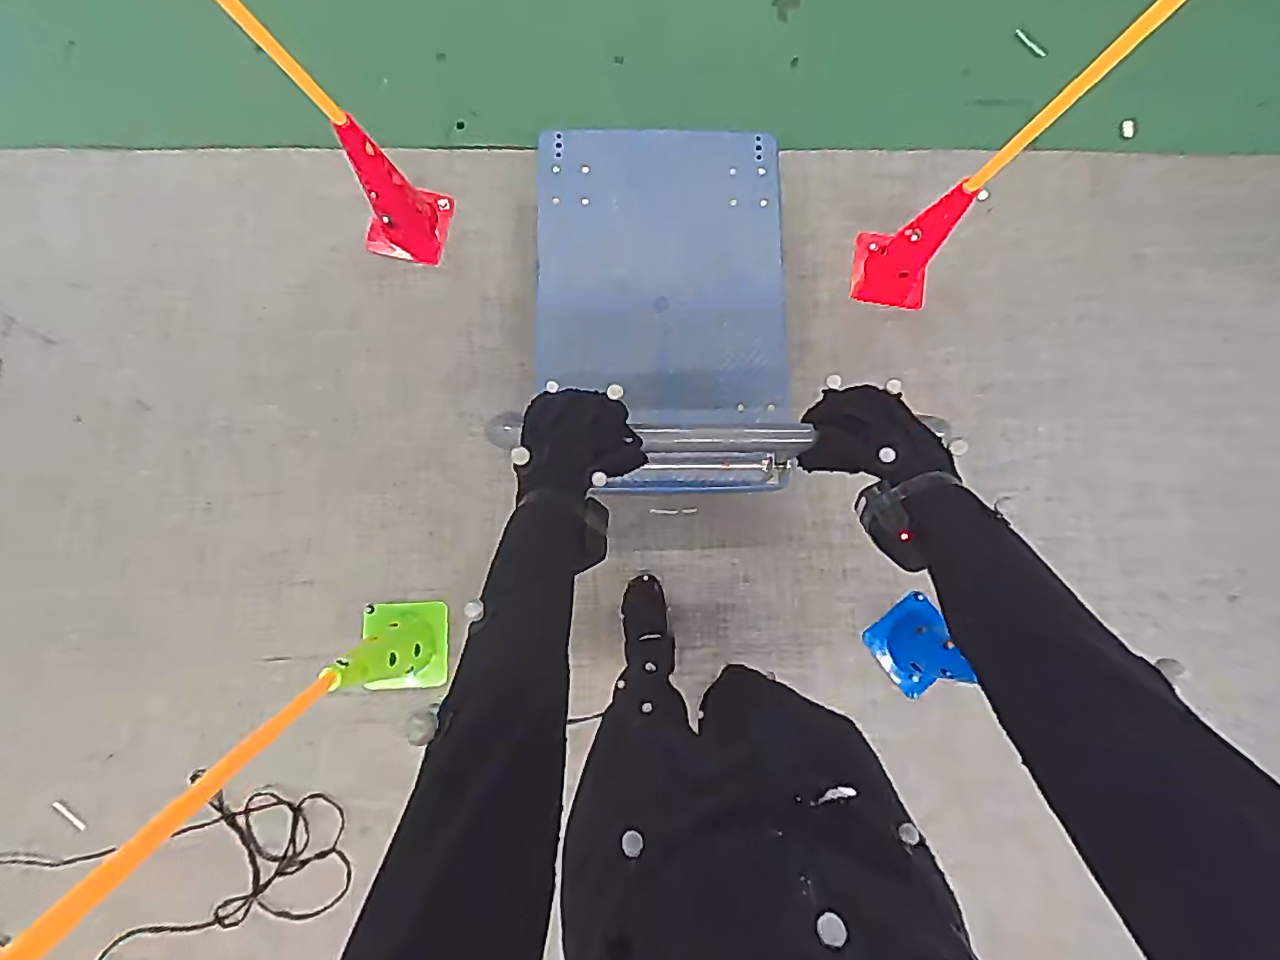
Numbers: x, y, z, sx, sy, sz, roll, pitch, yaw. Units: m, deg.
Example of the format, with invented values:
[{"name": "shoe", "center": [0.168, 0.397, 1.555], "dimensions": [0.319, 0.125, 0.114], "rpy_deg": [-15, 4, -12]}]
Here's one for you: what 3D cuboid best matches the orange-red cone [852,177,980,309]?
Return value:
[{"name": "orange-red cone", "center": [0.685, -0.588, 1.294], "dimensions": [0.198, 0.360, 0.199], "rpy_deg": [10, 83, 0]}]
